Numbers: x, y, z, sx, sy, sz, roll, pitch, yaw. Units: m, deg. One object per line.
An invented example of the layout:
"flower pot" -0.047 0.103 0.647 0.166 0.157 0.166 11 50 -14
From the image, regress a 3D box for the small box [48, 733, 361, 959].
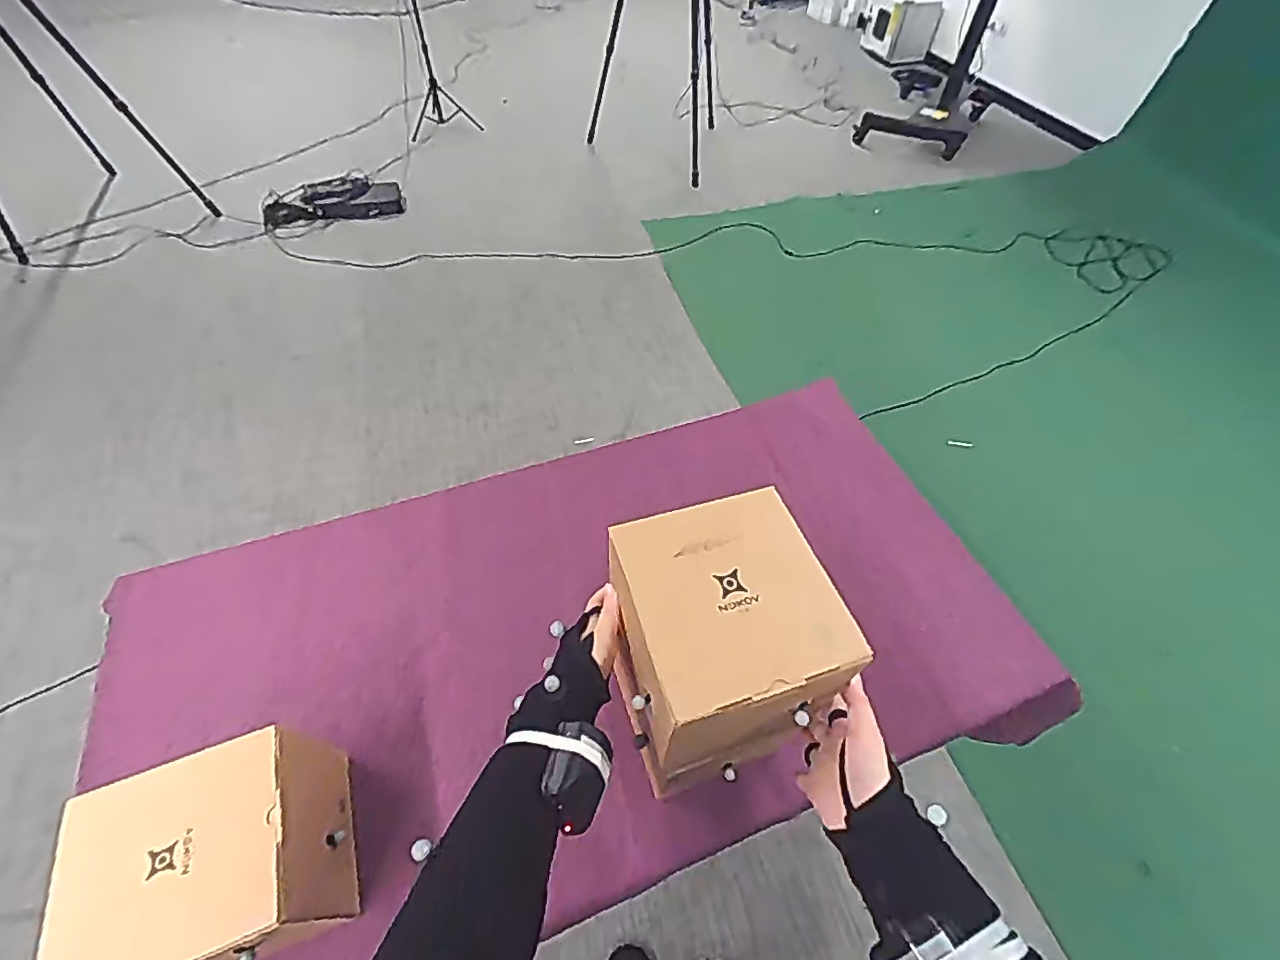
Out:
"small box" -0.402 0.382 0.529 0.179 0.176 0.168 -18 54 -15

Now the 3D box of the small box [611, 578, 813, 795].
"small box" 0.071 0.248 0.636 0.168 0.176 0.179 -15 54 -12
